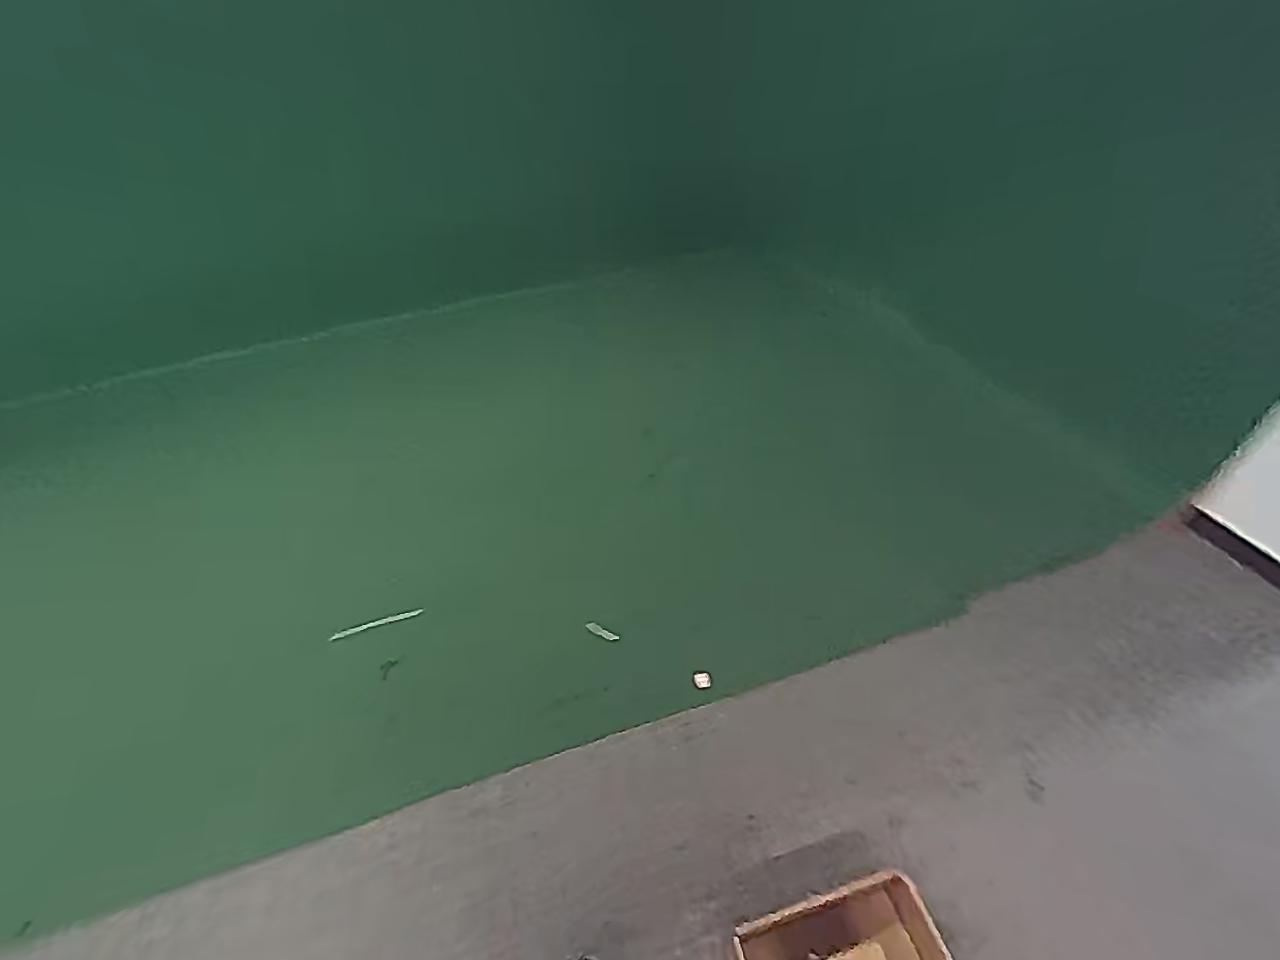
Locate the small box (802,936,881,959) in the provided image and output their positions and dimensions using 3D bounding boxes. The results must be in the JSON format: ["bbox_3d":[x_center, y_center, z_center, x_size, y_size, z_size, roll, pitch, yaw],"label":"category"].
[{"bbox_3d":[0.401,1.032,1.058,0.179,0.176,0.168,-14,46,-7],"label":"small box"}]
